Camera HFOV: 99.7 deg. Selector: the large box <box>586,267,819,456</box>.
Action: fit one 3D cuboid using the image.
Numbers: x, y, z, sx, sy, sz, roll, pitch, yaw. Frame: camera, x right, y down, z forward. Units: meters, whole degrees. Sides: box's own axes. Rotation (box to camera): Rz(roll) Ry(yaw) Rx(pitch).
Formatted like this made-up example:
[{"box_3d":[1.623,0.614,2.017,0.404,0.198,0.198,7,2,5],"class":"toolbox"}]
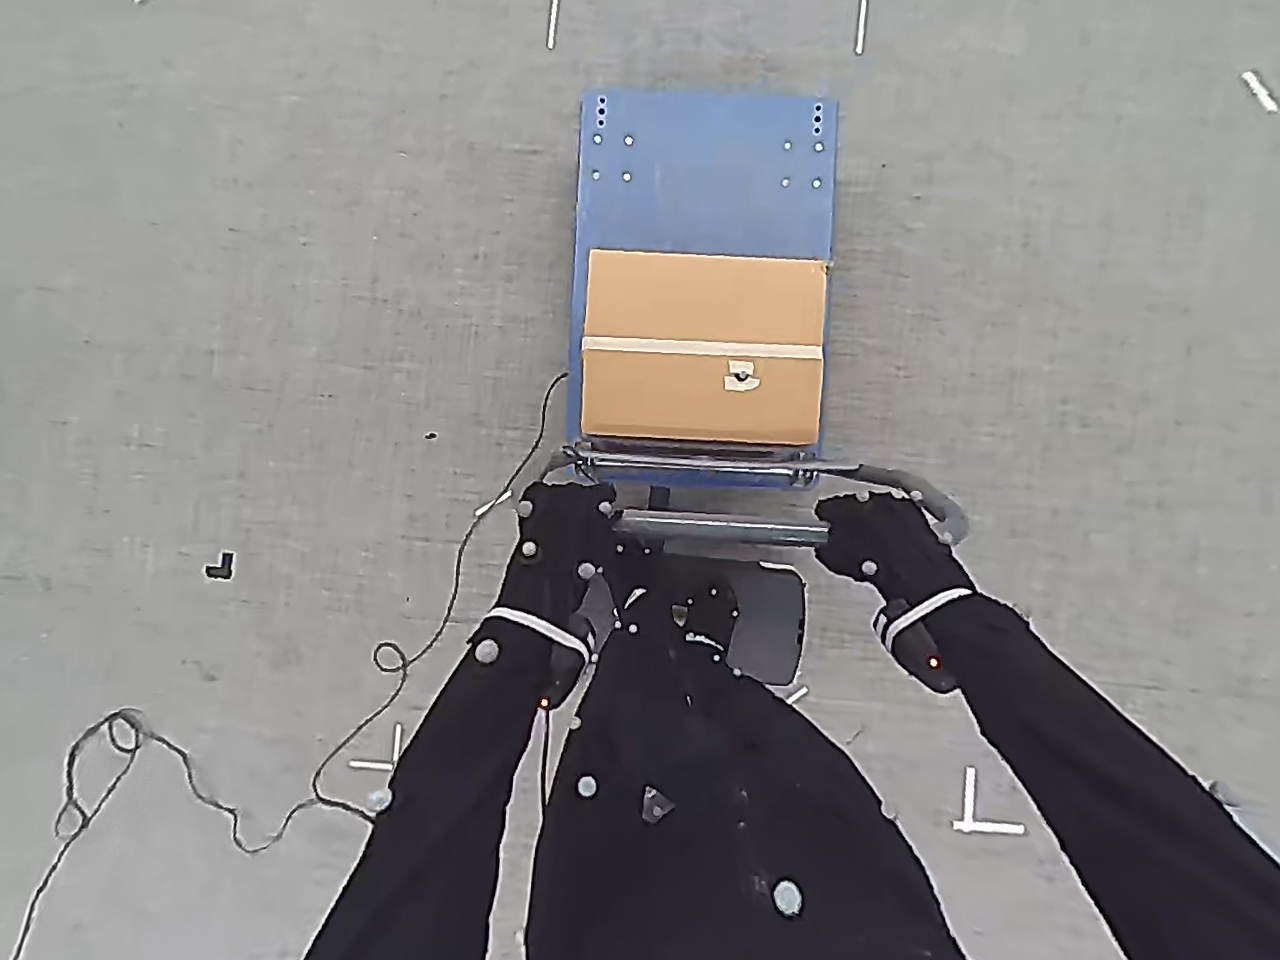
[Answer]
[{"box_3d":[0.106,-0.212,1.088,0.408,0.320,0.320,3,92,0],"class":"large box"}]
